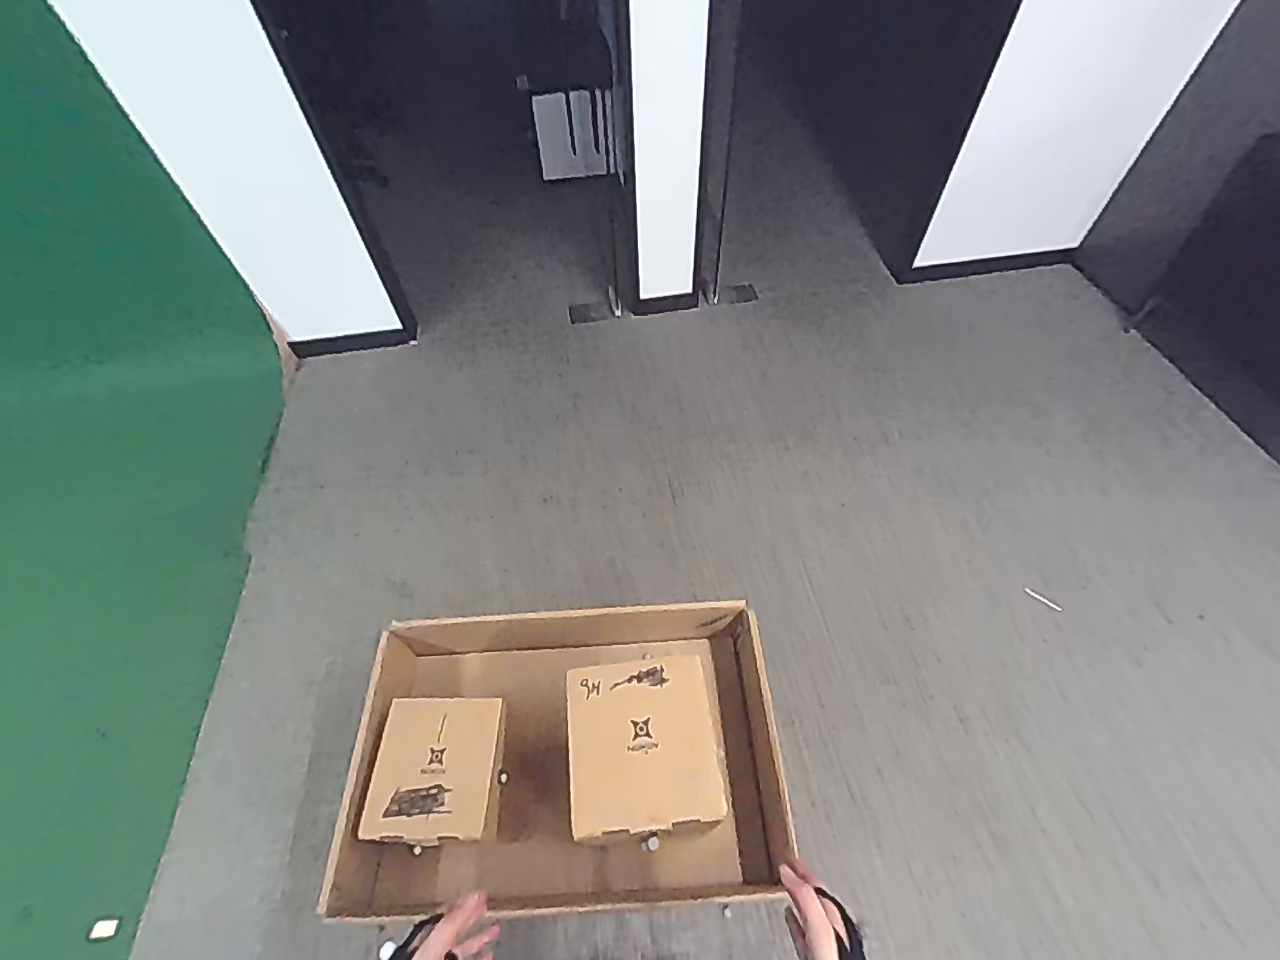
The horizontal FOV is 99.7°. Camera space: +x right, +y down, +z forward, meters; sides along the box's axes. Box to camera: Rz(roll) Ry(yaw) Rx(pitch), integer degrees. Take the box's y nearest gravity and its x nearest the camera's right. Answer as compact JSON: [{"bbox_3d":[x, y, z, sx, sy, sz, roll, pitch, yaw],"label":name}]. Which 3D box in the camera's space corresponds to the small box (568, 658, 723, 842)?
[{"bbox_3d":[0.003,0.340,0.674,0.168,0.176,0.179,-5,55,-2],"label":"small box"}]
